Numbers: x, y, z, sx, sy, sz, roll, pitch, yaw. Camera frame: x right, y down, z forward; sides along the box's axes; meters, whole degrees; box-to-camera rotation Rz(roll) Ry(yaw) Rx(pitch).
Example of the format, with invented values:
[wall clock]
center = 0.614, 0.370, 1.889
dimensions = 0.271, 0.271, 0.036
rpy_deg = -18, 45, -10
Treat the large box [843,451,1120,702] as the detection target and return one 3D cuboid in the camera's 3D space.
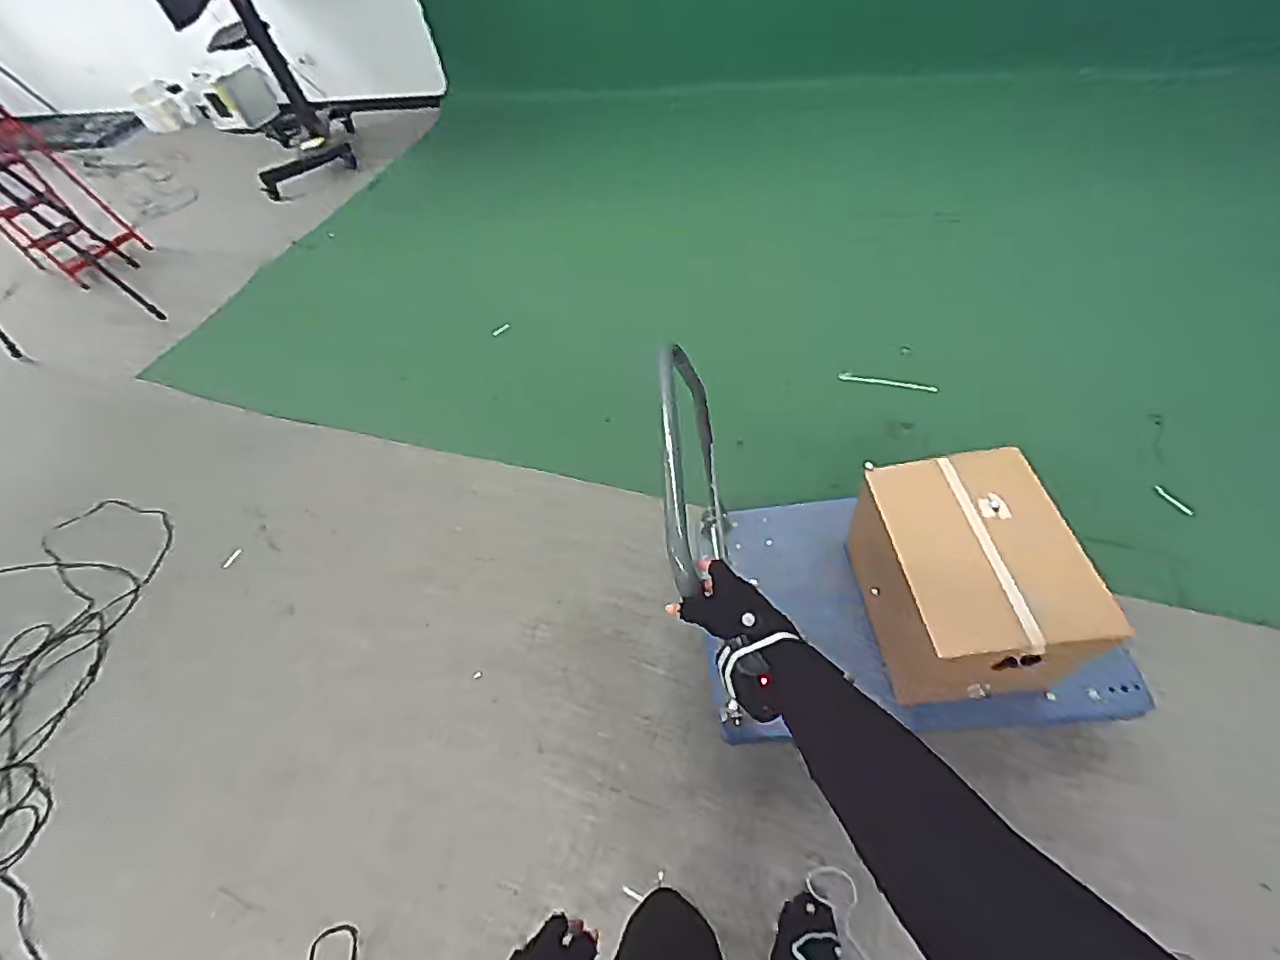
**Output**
[large box]
center = 0.656, 0.207, 1.139
dimensions = 0.320, 0.320, 0.408
rpy_deg = -8, 52, 5
